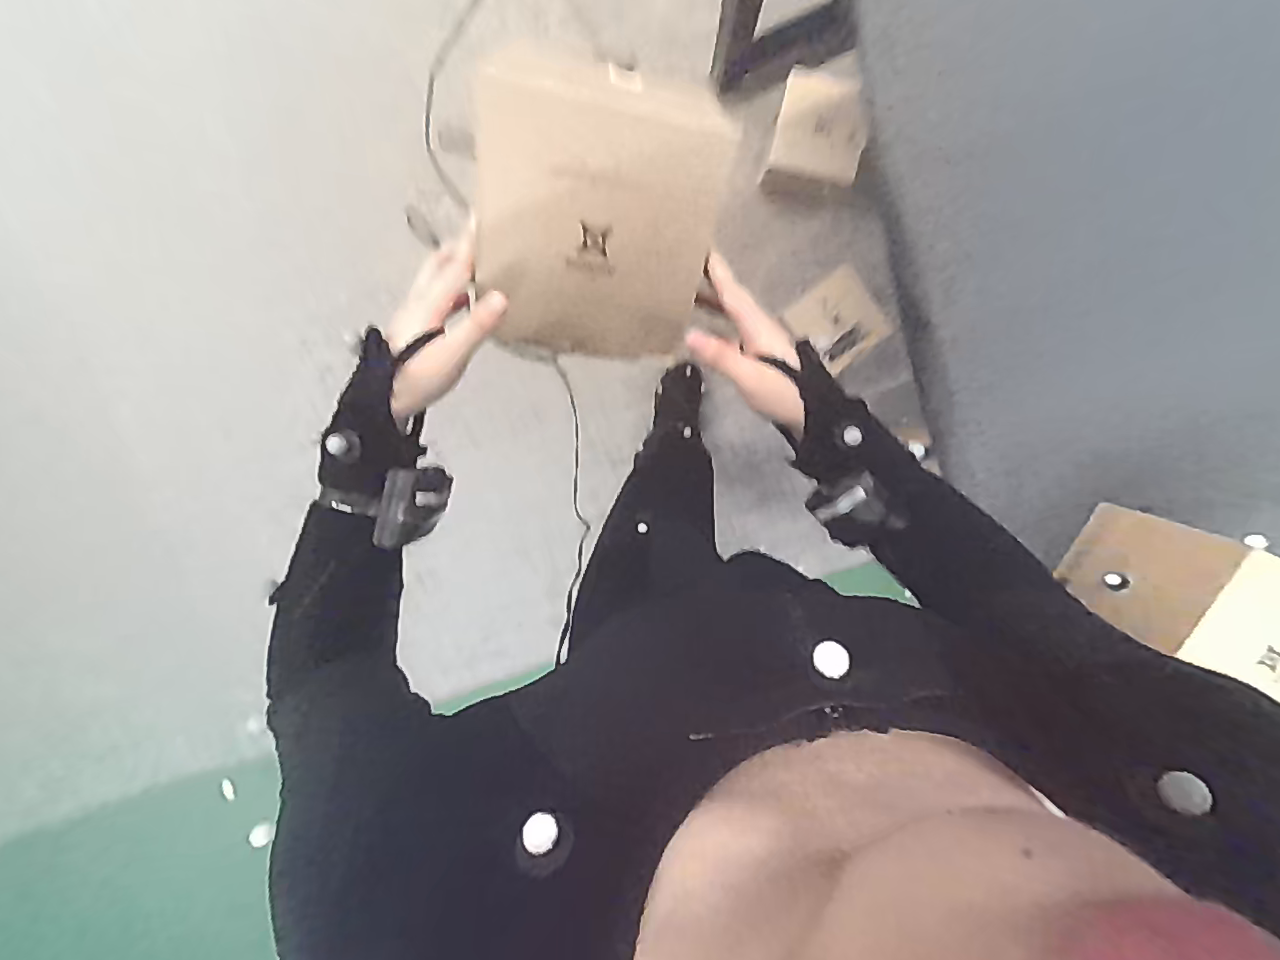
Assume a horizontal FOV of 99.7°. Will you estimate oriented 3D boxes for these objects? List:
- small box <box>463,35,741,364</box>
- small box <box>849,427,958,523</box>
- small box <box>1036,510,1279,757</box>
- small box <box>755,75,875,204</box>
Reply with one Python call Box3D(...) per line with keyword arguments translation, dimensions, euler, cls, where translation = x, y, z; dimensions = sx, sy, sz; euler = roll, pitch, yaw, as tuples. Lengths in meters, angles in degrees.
Box3D(translation=(-0.040, -0.221, 0.430), dimensions=(0.168, 0.176, 0.179), euler=(7, 129, -12), cls="small box")
Box3D(translation=(0.611, -0.021, 1.271), dimensions=(0.168, 0.176, 0.179), euler=(-15, 104, 7), cls="small box")
Box3D(translation=(0.572, 0.144, 0.558), dimensions=(0.179, 0.176, 0.168), euler=(25, 101, -4), cls="small box")
Box3D(translation=(0.349, -0.692, 1.121), dimensions=(0.179, 0.176, 0.168), euler=(11, 104, -1), cls="small box")
